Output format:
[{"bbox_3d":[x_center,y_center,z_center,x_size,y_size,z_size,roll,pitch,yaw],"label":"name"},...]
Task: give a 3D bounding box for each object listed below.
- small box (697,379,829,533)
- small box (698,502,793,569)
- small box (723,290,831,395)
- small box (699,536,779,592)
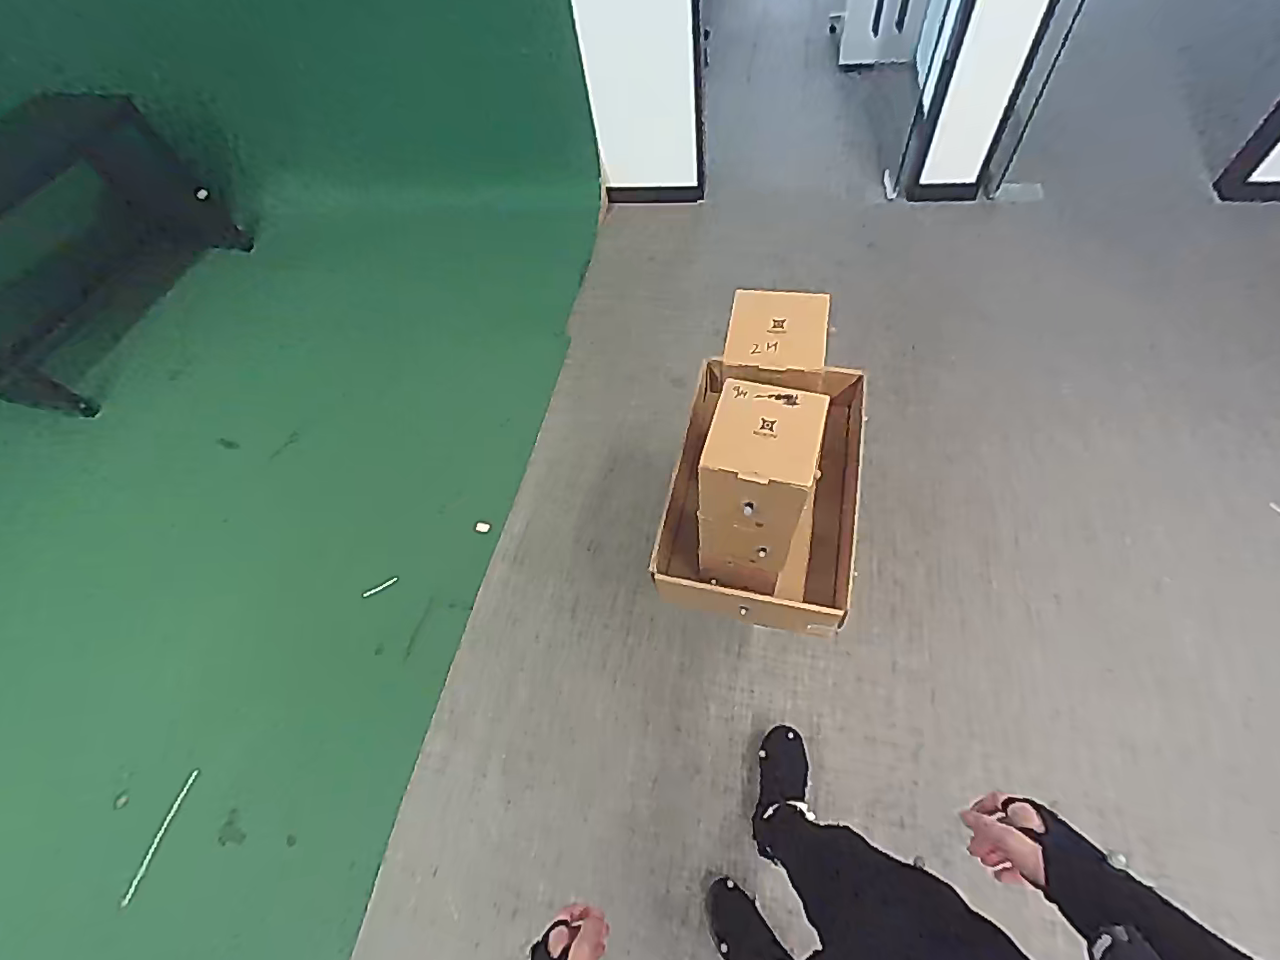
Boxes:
[{"bbox_3d":[0.199,-0.034,0.887,0.168,0.176,0.179,14,63,14],"label":"small box"},{"bbox_3d":[0.214,0.050,1.027,0.168,0.176,0.179,12,61,14],"label":"small box"},{"bbox_3d":[0.246,-0.221,0.996,0.168,0.176,0.179,8,63,13],"label":"small box"},{"bbox_3d":[0.228,0.124,1.171,0.168,0.176,0.179,10,60,14],"label":"small box"}]
